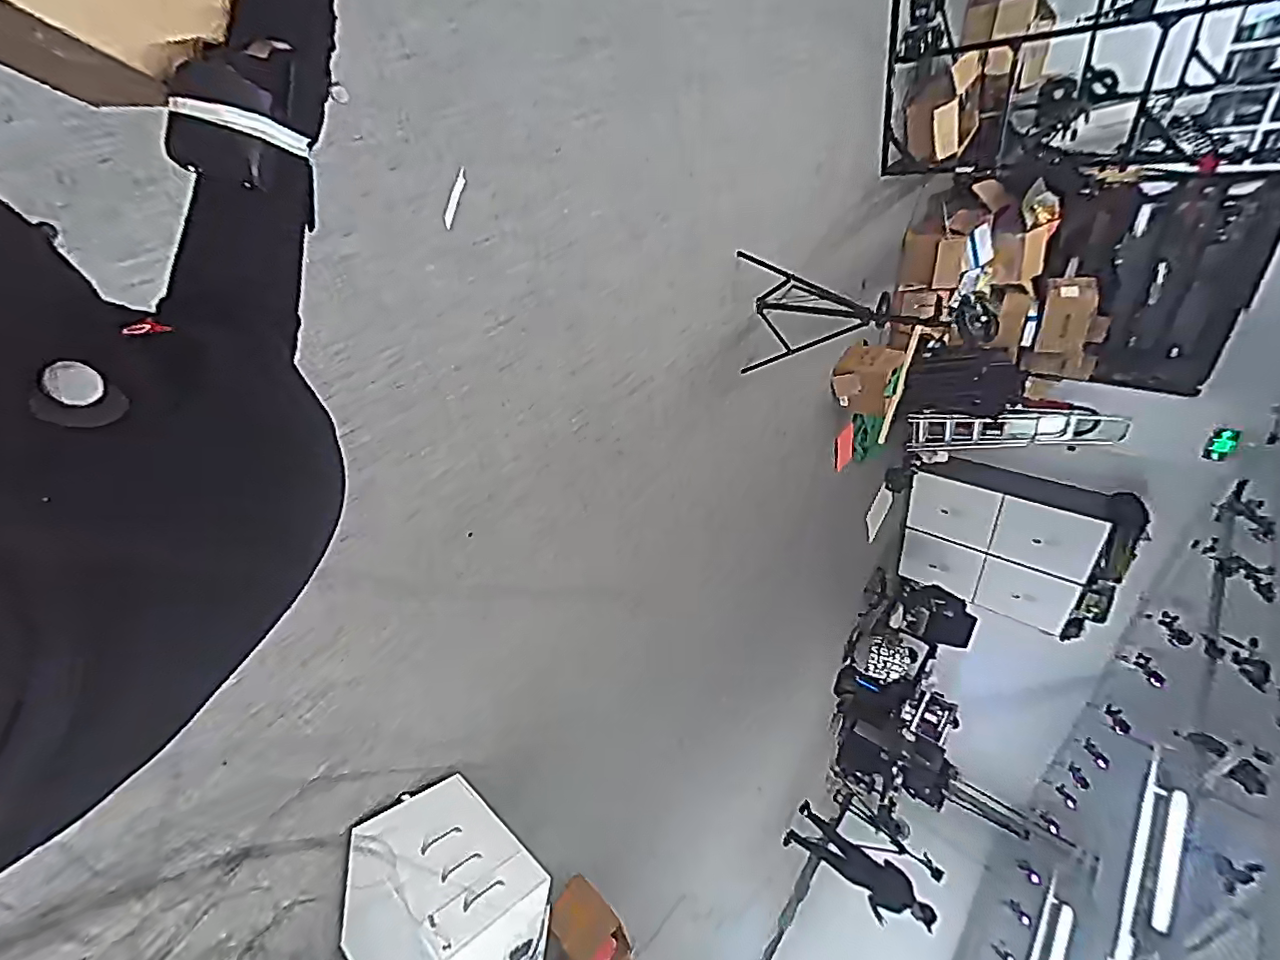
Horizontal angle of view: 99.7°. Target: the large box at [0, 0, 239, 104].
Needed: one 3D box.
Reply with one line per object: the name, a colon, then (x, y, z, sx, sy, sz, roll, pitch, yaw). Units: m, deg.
large box: (-0.479, -0.472, 0.277, 0.408, 0.320, 0.320, 6, 106, -58)
